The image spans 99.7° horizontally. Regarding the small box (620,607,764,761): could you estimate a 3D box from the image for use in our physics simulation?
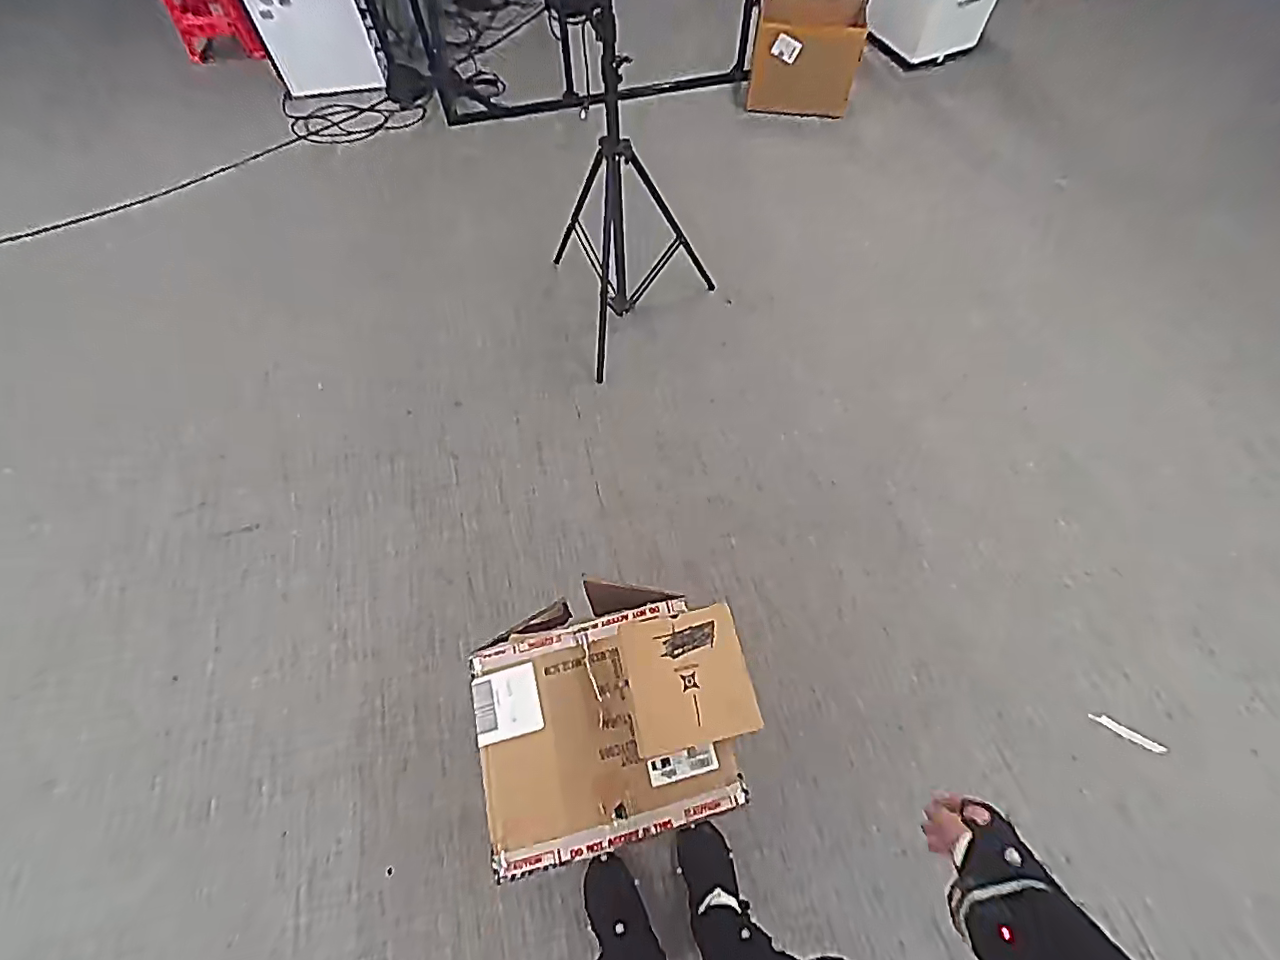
[{"bbox_3d":[0.065,0.310,0.810,0.168,0.176,0.179,-10,64,-7],"label":"small box"}]
